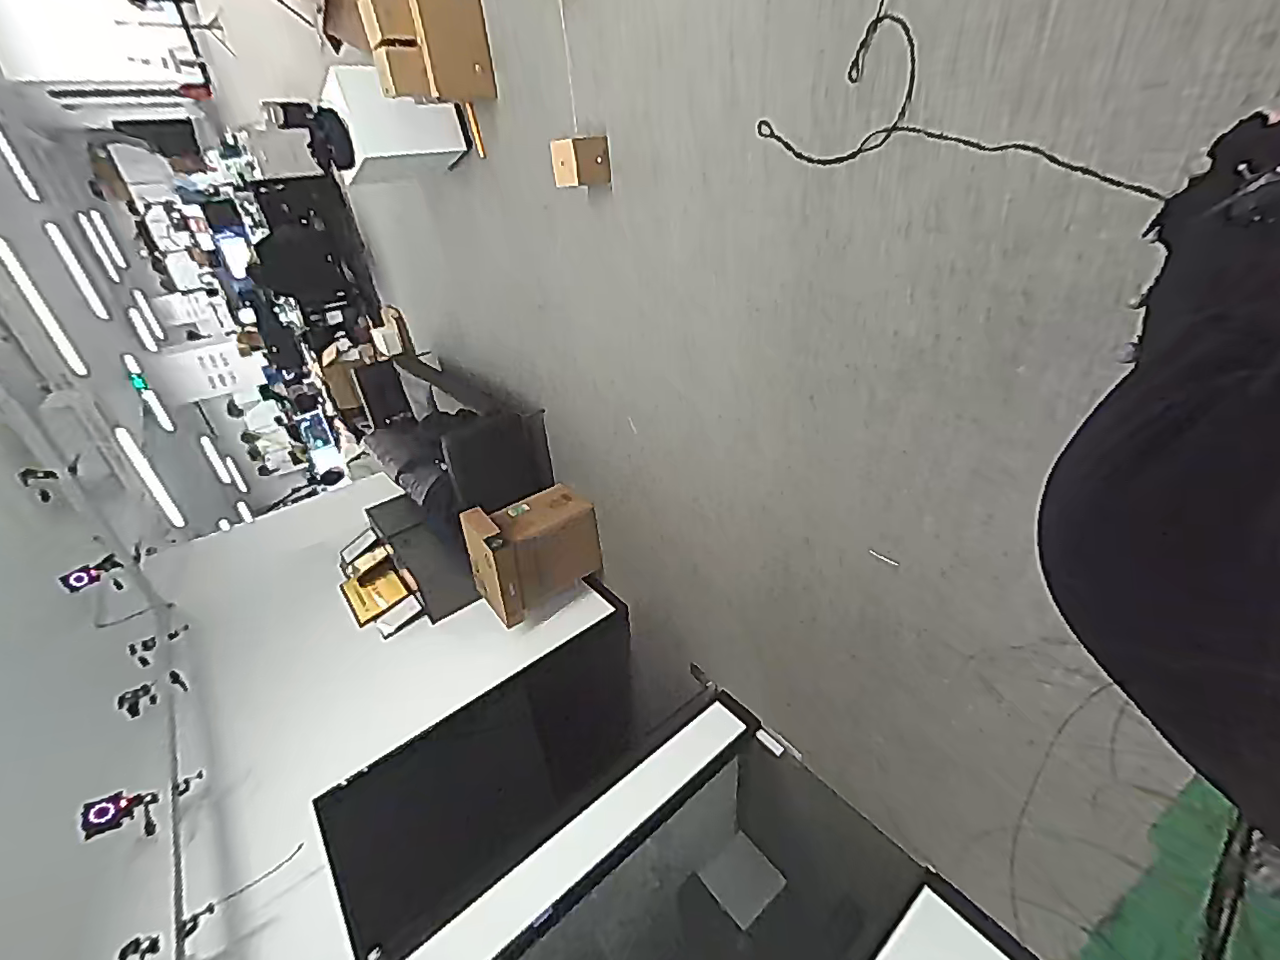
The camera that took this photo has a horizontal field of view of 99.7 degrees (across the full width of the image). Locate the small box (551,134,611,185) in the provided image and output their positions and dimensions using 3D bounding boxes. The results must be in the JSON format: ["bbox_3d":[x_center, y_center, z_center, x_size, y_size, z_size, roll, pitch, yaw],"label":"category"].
[{"bbox_3d":[-0.239,-1.305,2.208,0.179,0.176,0.168,29,136,44],"label":"small box"}]
